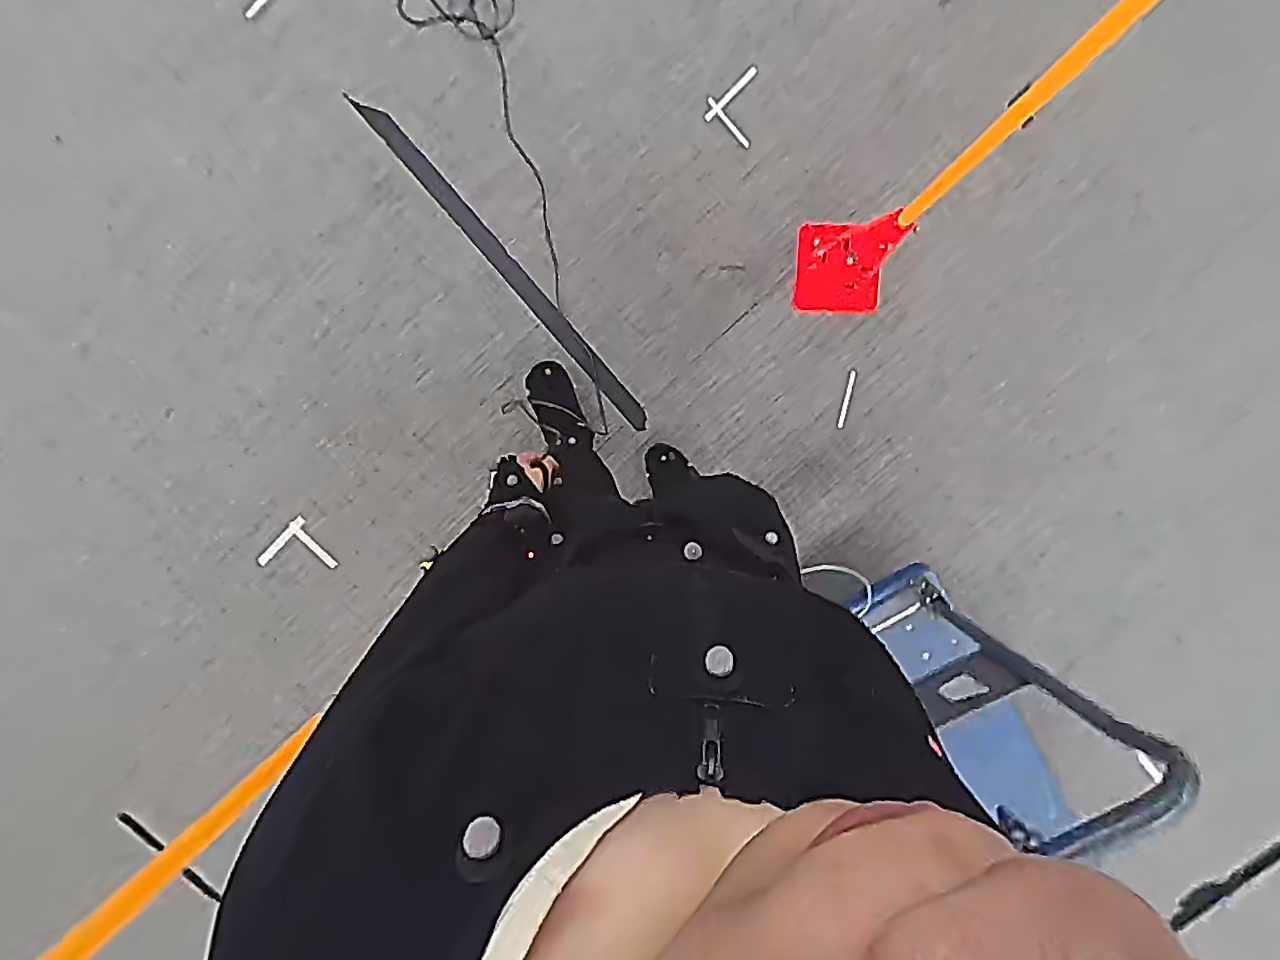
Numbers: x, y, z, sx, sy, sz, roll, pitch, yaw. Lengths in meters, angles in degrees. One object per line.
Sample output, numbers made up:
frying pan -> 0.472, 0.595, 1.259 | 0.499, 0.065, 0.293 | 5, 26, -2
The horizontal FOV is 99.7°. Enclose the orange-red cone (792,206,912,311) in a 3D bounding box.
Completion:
orange-red cone -> 0.457, -0.475, 1.098 | 0.198, 0.360, 0.199 | 4, 99, 2
